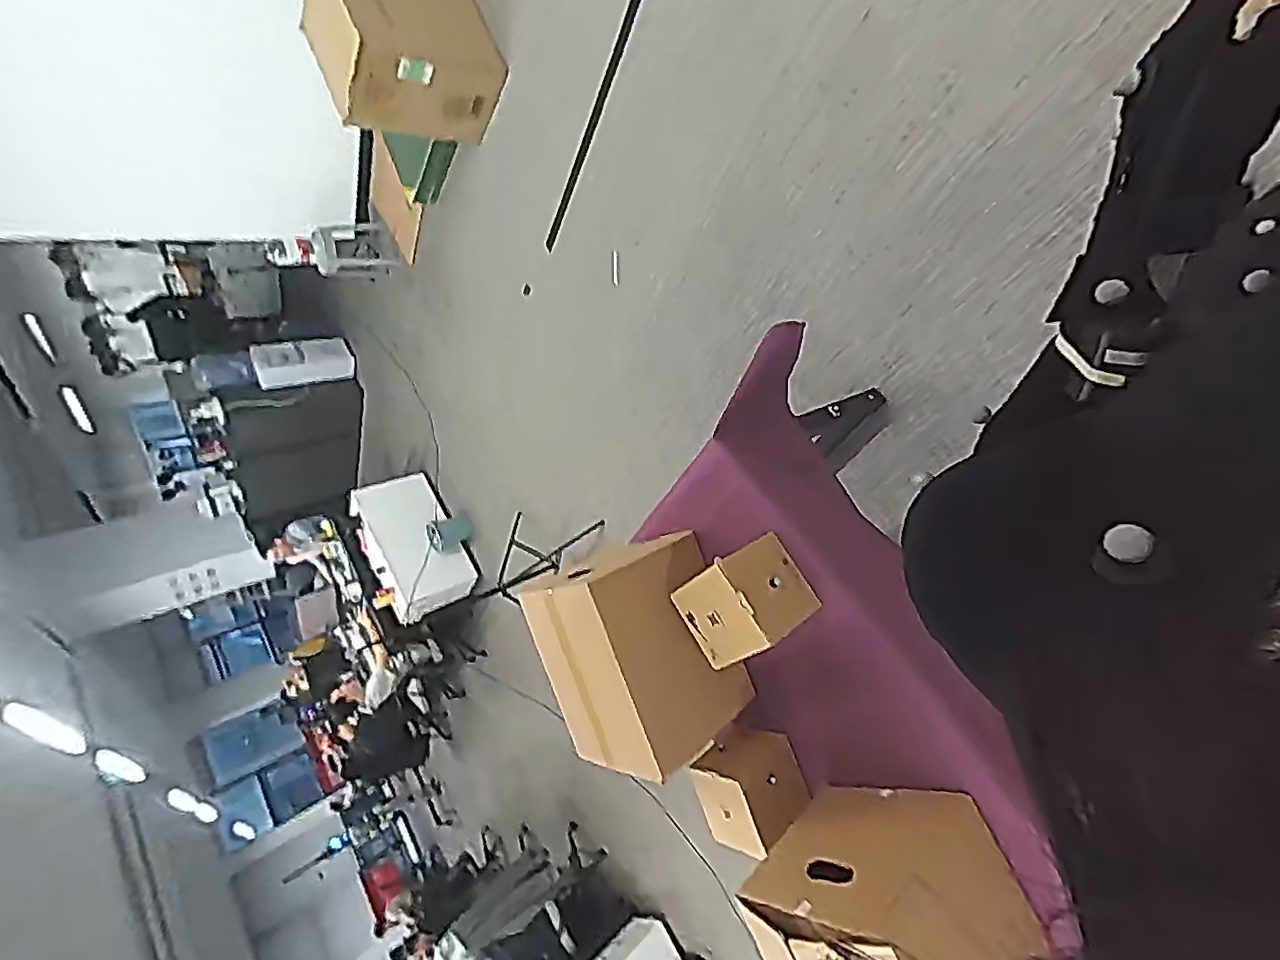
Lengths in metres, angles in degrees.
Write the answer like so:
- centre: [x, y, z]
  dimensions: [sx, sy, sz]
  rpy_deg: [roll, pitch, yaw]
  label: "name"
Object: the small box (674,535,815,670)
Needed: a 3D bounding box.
- centre: [0.203, 0.227, 1.023]
  dimensions: [0.168, 0.176, 0.179]
  rpy_deg: [58, 140, 14]
  label: "small box"
